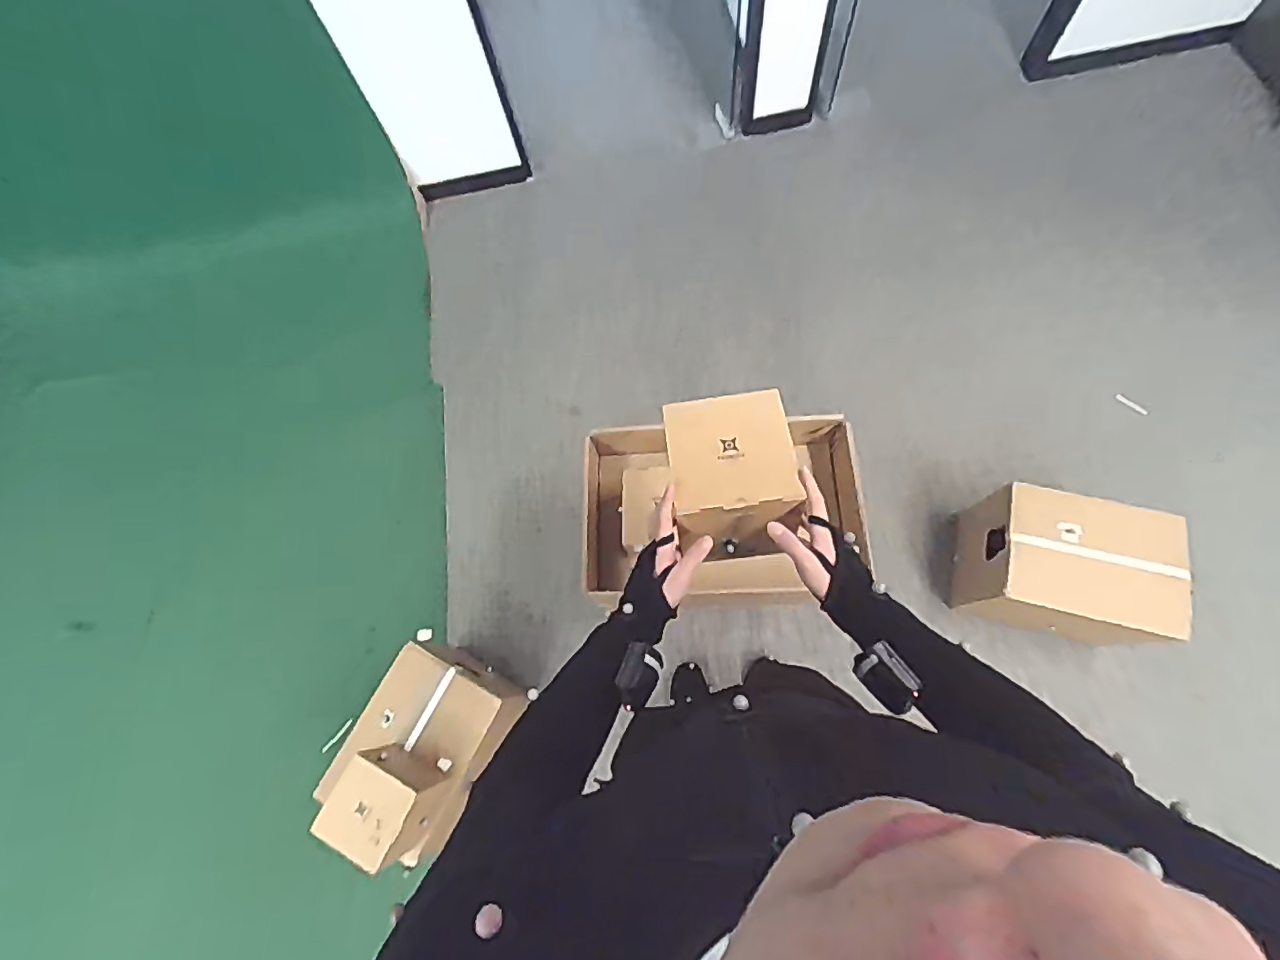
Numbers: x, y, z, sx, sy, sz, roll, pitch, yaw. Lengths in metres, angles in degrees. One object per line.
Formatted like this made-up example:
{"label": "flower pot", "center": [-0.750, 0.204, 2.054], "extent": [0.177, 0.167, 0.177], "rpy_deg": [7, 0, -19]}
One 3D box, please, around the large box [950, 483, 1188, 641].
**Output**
{"label": "large box", "center": [1.127, 0.233, 1.462], "extent": [0.408, 0.320, 0.320], "rpy_deg": [13, 72, 11]}

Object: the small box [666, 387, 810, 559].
{"label": "small box", "center": [0.128, -0.006, 0.771], "extent": [0.168, 0.176, 0.179], "rpy_deg": [-7, 60, 3]}

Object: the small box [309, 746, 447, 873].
{"label": "small box", "center": [-0.565, 0.708, 1.189], "extent": [0.179, 0.176, 0.168], "rpy_deg": [24, 74, 12]}
